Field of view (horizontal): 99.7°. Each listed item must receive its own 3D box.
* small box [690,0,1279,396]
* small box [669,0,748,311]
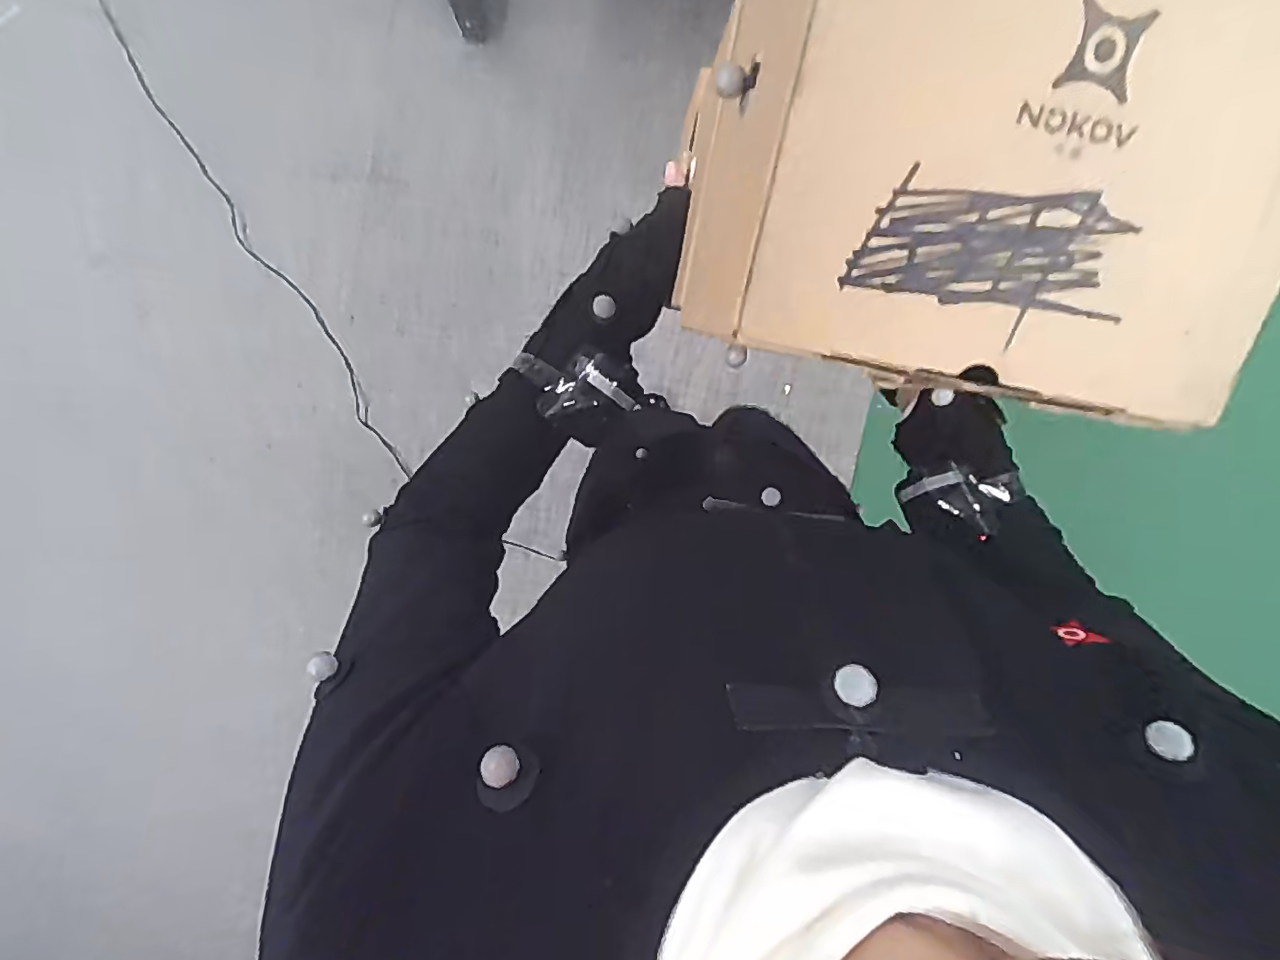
[{"bbox_3d":[0.122,-0.147,0.234,0.168,0.176,0.179,10,106,-5],"label":"small box"},{"bbox_3d":[0.123,-0.195,0.374,0.179,0.176,0.168,5,108,-4],"label":"small box"}]
